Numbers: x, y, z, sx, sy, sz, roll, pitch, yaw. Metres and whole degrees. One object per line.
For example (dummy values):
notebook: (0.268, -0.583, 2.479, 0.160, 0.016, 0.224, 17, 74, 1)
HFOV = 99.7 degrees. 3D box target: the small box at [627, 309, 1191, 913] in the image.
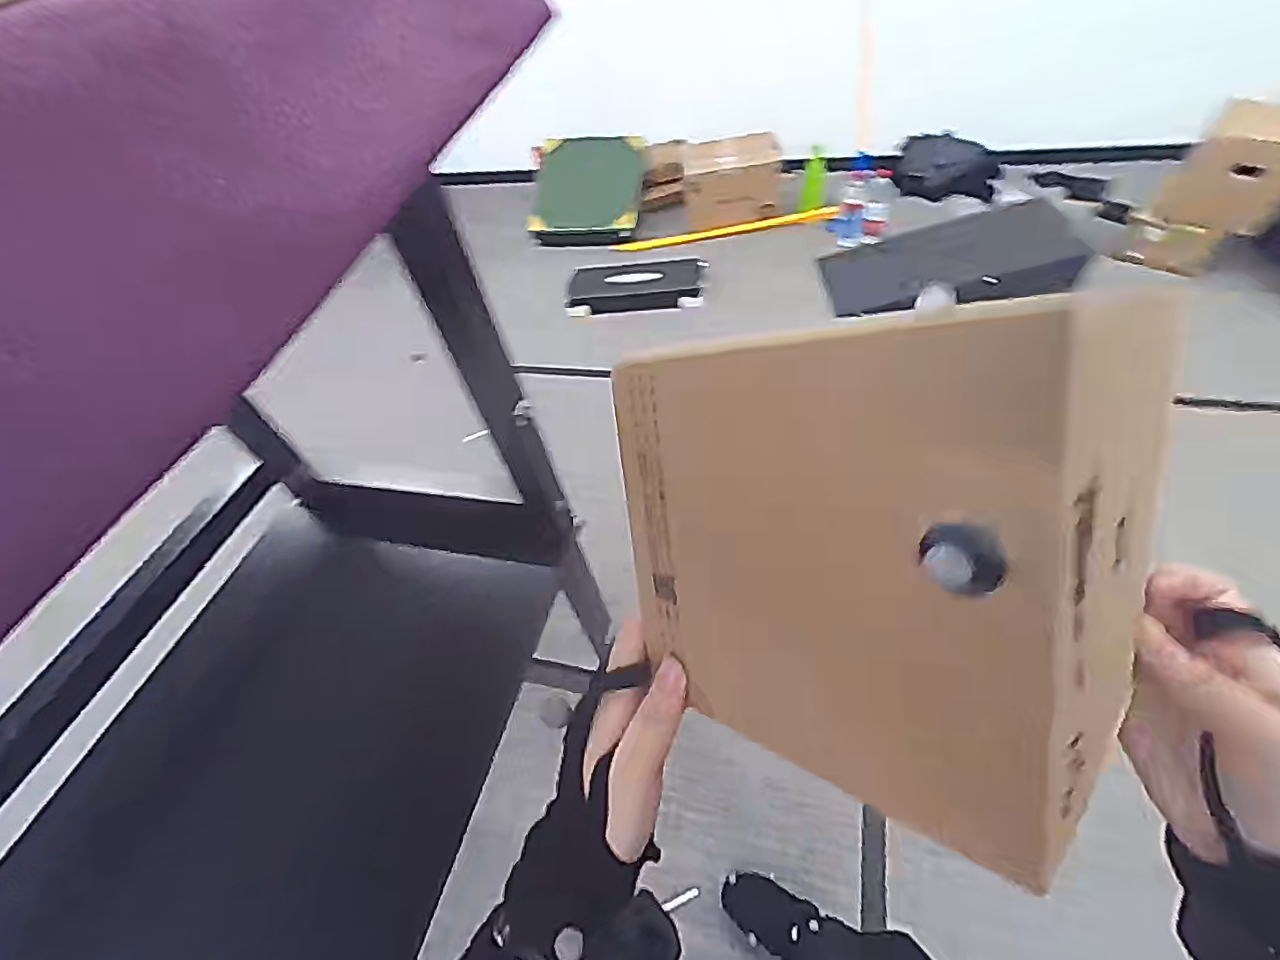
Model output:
small box: (0.117, 0.019, 0.248, 0.179, 0.168, 0.176, -15, 14, -39)
